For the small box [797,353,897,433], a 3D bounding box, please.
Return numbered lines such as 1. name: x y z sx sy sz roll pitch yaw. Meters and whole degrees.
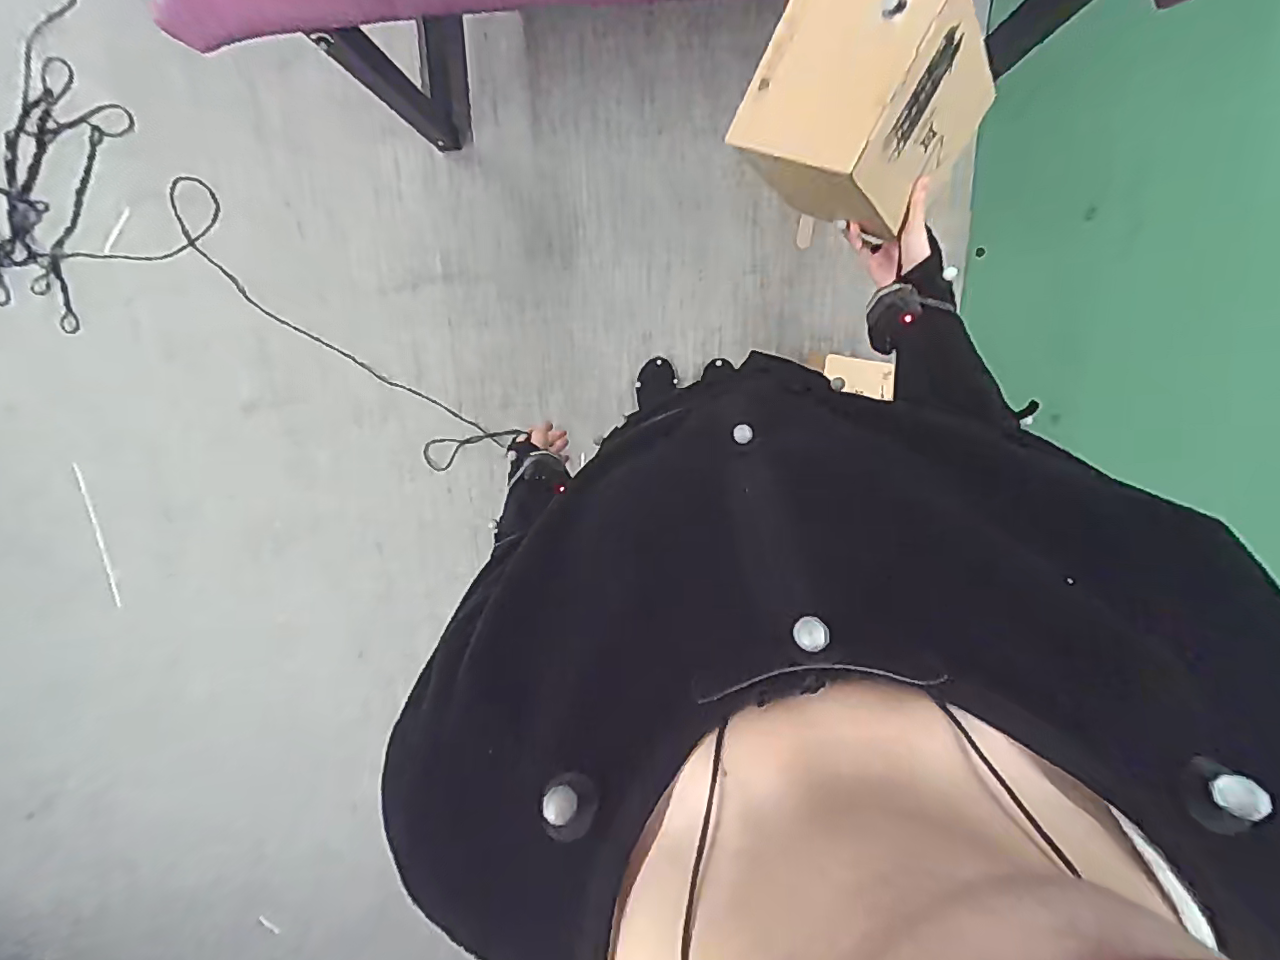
1. small box: 0.512 -0.223 1.367 0.179 0.176 0.168 9 104 1
